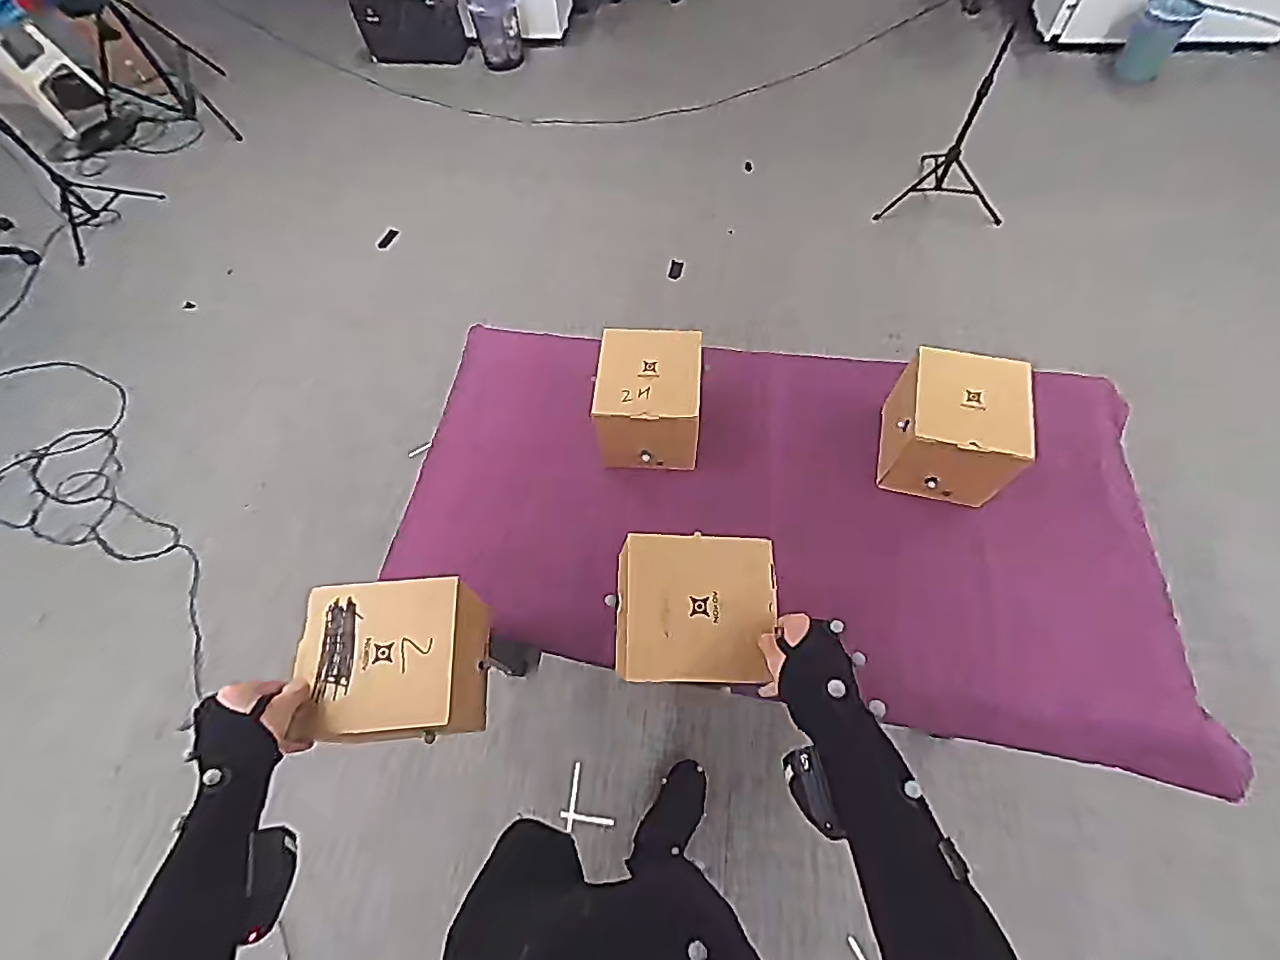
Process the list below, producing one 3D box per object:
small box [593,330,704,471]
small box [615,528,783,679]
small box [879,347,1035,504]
[{"bbox_3d":[0.019,-0.134,0.933,0.168,0.176,0.179,3,63,5],"label":"small box"},{"bbox_3d":[0.065,0.164,0.692,0.179,0.176,0.168,3,70,-6],"label":"small box"},{"bbox_3d":[0.502,-0.084,0.878,0.168,0.176,0.179,11,65,10],"label":"small box"}]
